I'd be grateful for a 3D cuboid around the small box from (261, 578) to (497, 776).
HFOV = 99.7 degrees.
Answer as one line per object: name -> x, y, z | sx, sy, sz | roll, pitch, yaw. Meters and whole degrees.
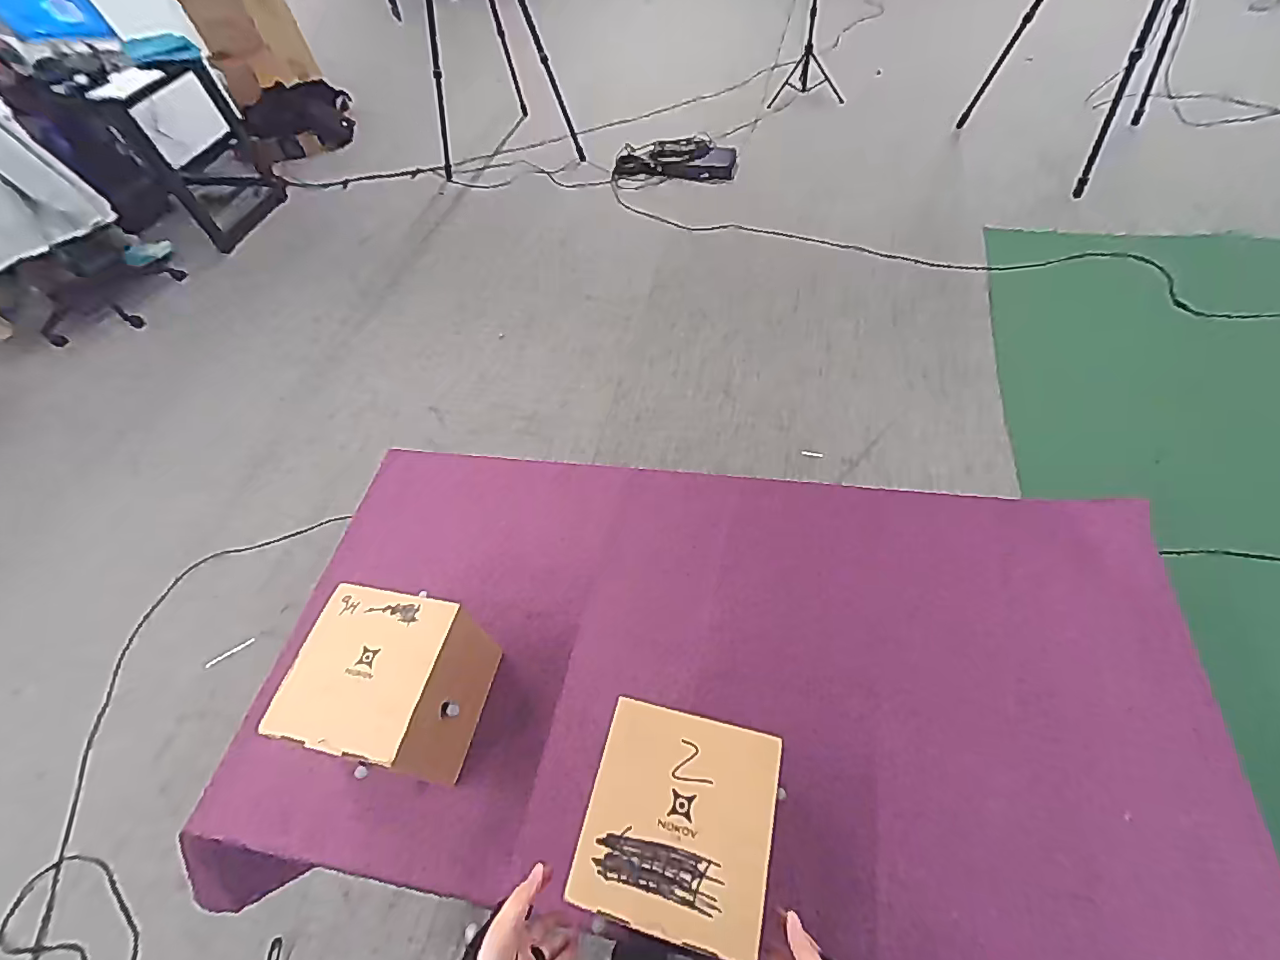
small box -> -0.297, 0.246, 0.665 | 0.168, 0.176, 0.179 | 8, 57, 12
